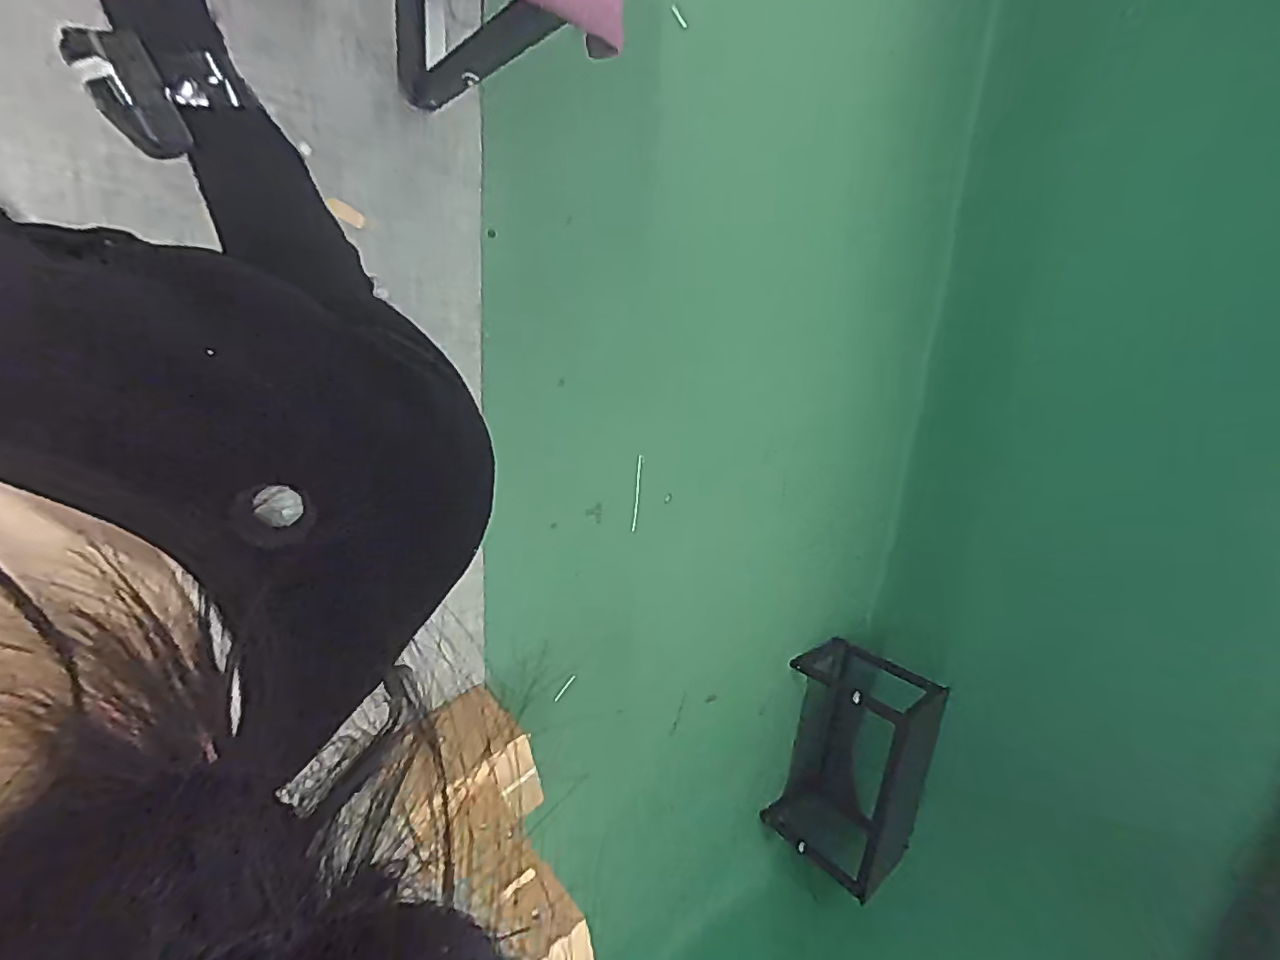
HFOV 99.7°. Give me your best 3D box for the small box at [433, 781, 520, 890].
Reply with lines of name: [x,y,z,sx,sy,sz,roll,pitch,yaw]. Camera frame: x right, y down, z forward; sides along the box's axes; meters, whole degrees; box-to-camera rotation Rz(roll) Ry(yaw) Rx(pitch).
small box: [-0.450,0.994,1.512,0.179,0.176,0.168,-21,116,-36]

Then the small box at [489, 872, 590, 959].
small box: [-0.239,1.080,1.277,0.168,0.176,0.179,-20,115,-36]

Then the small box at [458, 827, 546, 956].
small box: [-0.350,1.040,1.391,0.168,0.176,0.179,-19,115,-37]

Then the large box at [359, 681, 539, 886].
large box: [-0.591,0.925,1.702,0.408,0.320,0.320,-26,121,-36]
